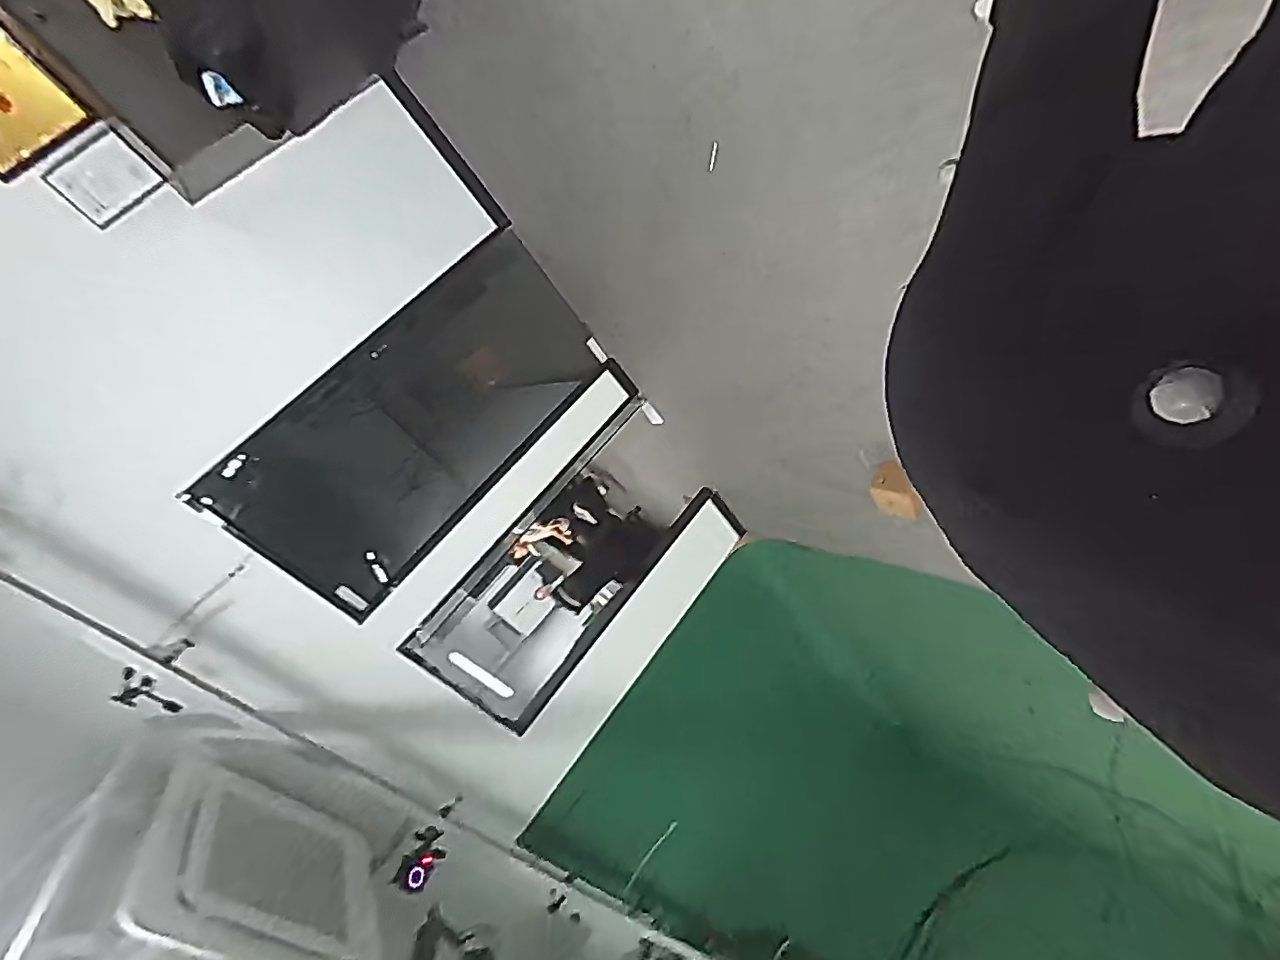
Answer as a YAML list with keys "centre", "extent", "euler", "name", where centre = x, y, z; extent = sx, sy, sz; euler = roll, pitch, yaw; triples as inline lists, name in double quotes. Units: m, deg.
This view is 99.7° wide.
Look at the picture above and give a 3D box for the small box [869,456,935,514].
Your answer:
- centre: [1.120, 0.015, 2.305]
  extent: [0.179, 0.176, 0.168]
  euler: [17, 152, 52]
  name: "small box"
